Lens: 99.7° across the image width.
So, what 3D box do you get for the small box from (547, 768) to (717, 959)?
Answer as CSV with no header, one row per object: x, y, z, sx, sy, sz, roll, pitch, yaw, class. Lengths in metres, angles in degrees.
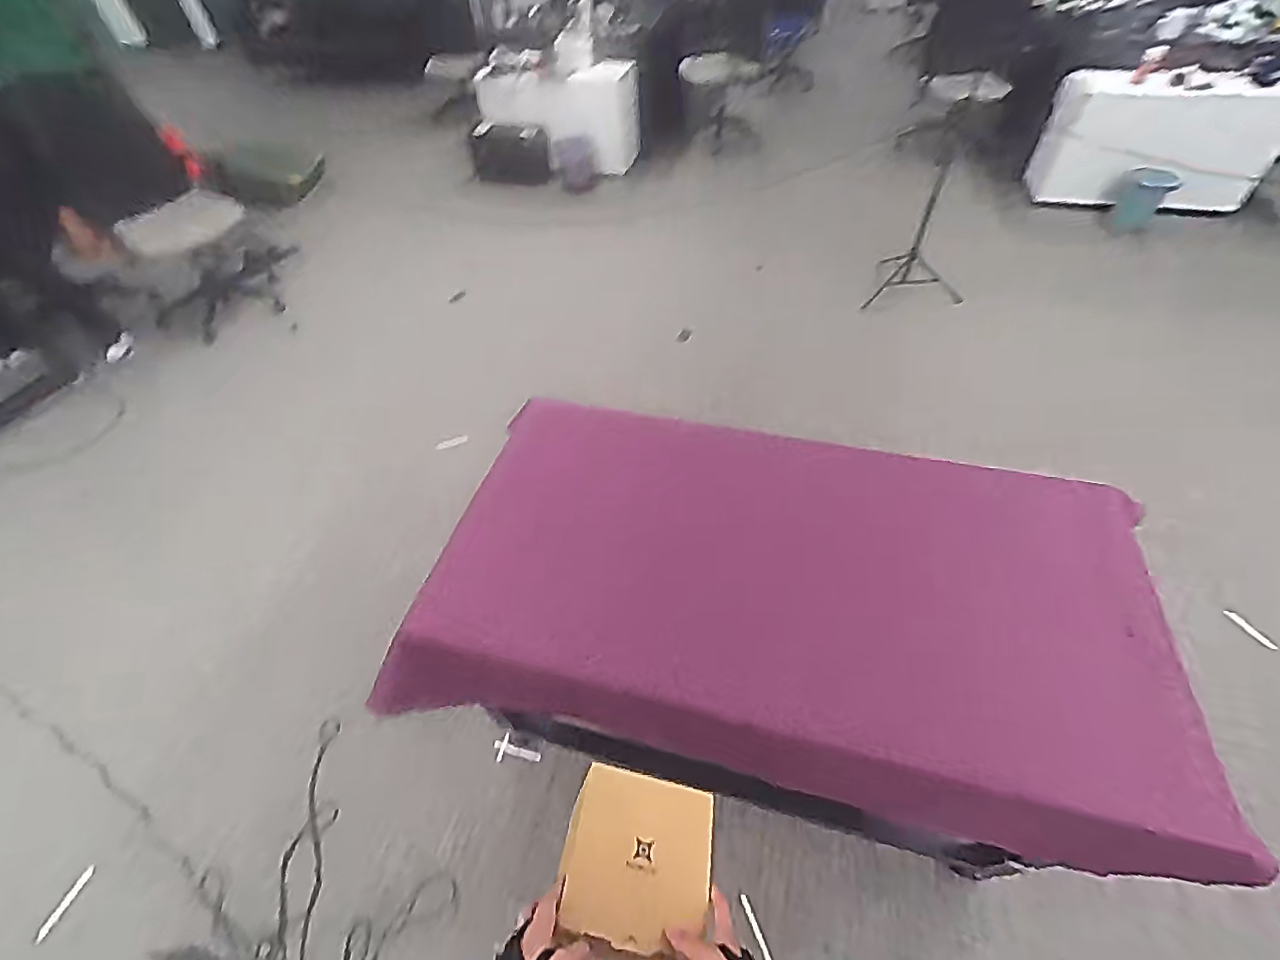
-0.010,0.503,0.676,0.168,0.176,0.179,16,38,0,small box
